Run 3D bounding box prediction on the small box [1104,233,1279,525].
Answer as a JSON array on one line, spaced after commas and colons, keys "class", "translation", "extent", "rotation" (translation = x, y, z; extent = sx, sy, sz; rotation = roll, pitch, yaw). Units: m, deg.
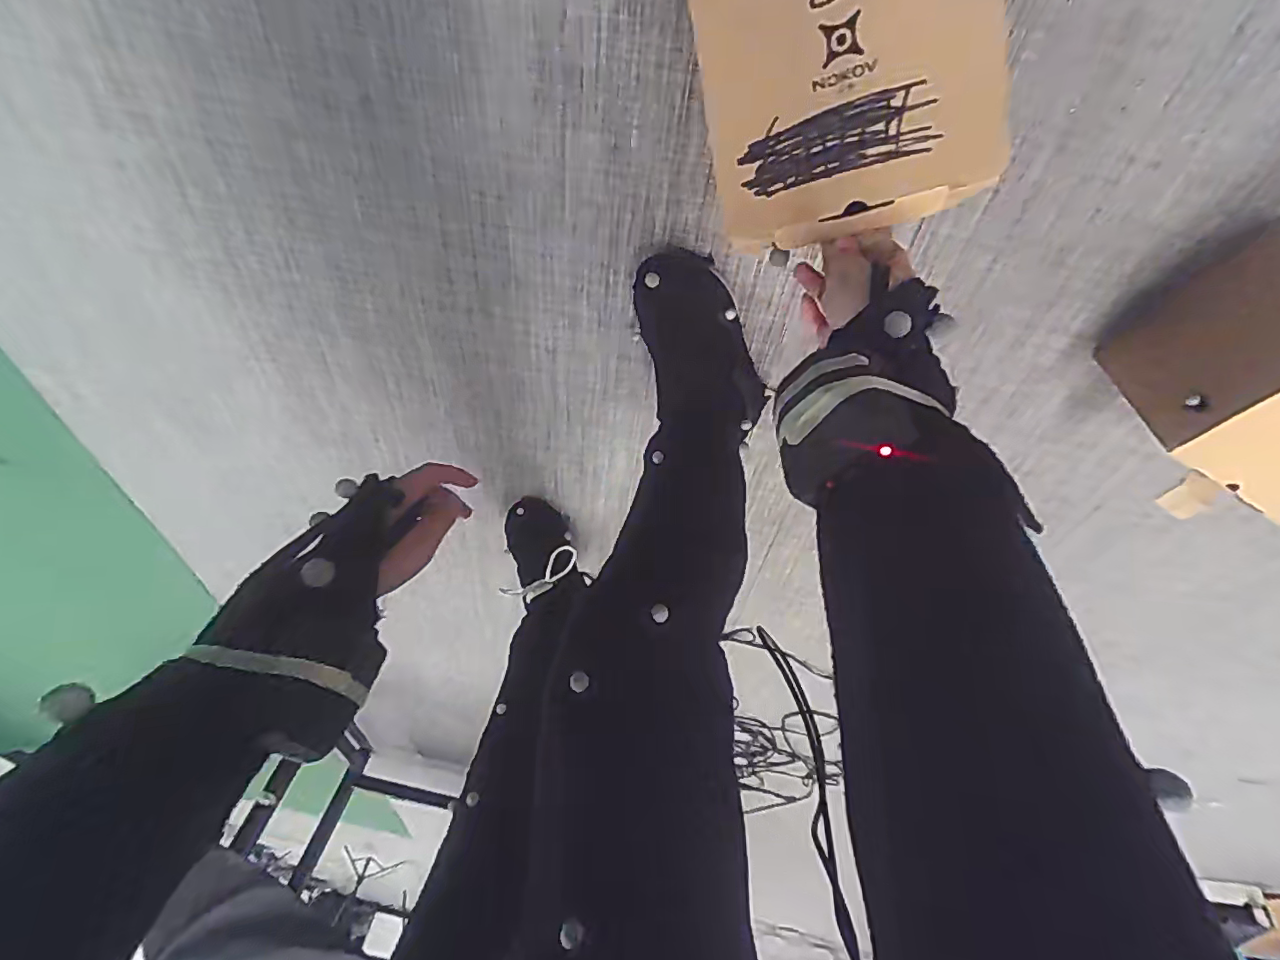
[{"class": "small box", "translation": [0.594, -0.094, 0.495], "extent": [0.168, 0.176, 0.179], "rotation": [26, 134, -12]}]
